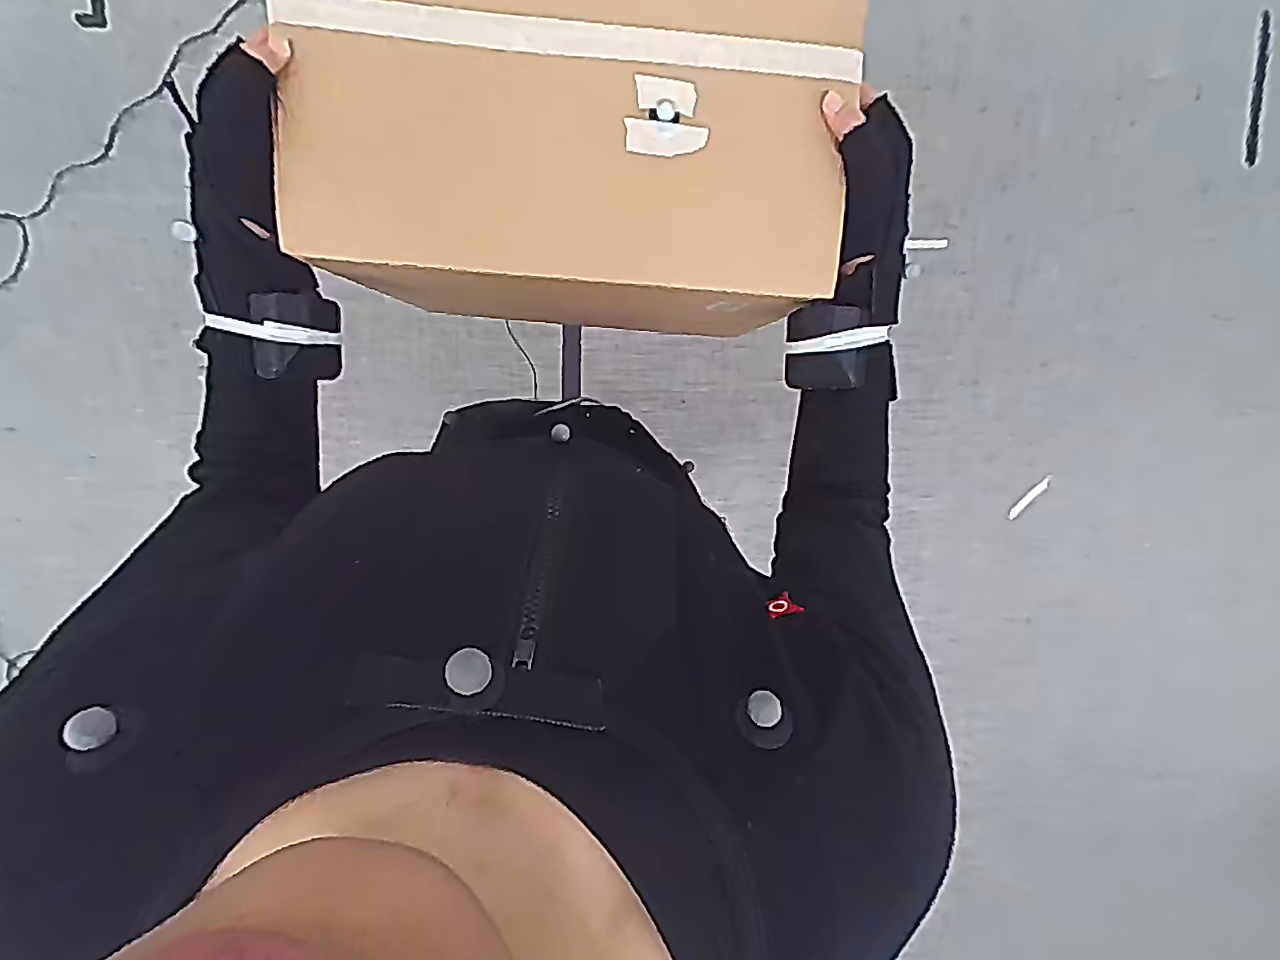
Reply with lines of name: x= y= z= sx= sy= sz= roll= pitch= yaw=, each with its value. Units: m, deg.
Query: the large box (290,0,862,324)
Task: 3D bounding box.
large box: x=-0.052 y=-0.336 z=0.528 sx=0.408 sy=0.320 sz=0.320 roll=3 pitch=101 yaw=-4
